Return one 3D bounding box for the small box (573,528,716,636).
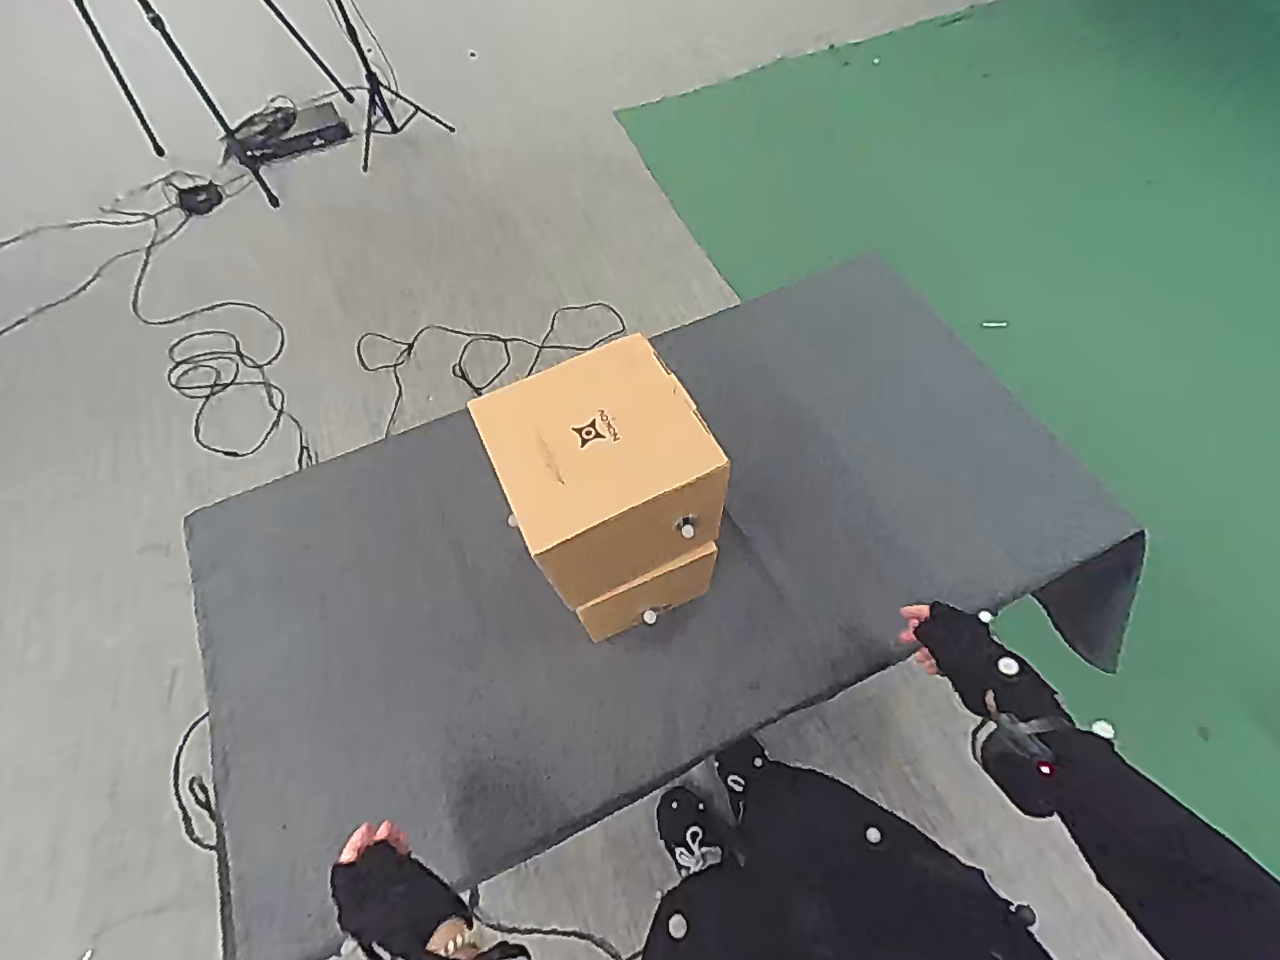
[{"bbox_3d":[-0.021,0.070,0.675,0.168,0.176,0.179,-22,63,-8],"label":"small box"}]

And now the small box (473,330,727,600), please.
[{"bbox_3d":[-0.035,-0.007,0.531,0.179,0.176,0.168,-24,62,-9],"label":"small box"}]
